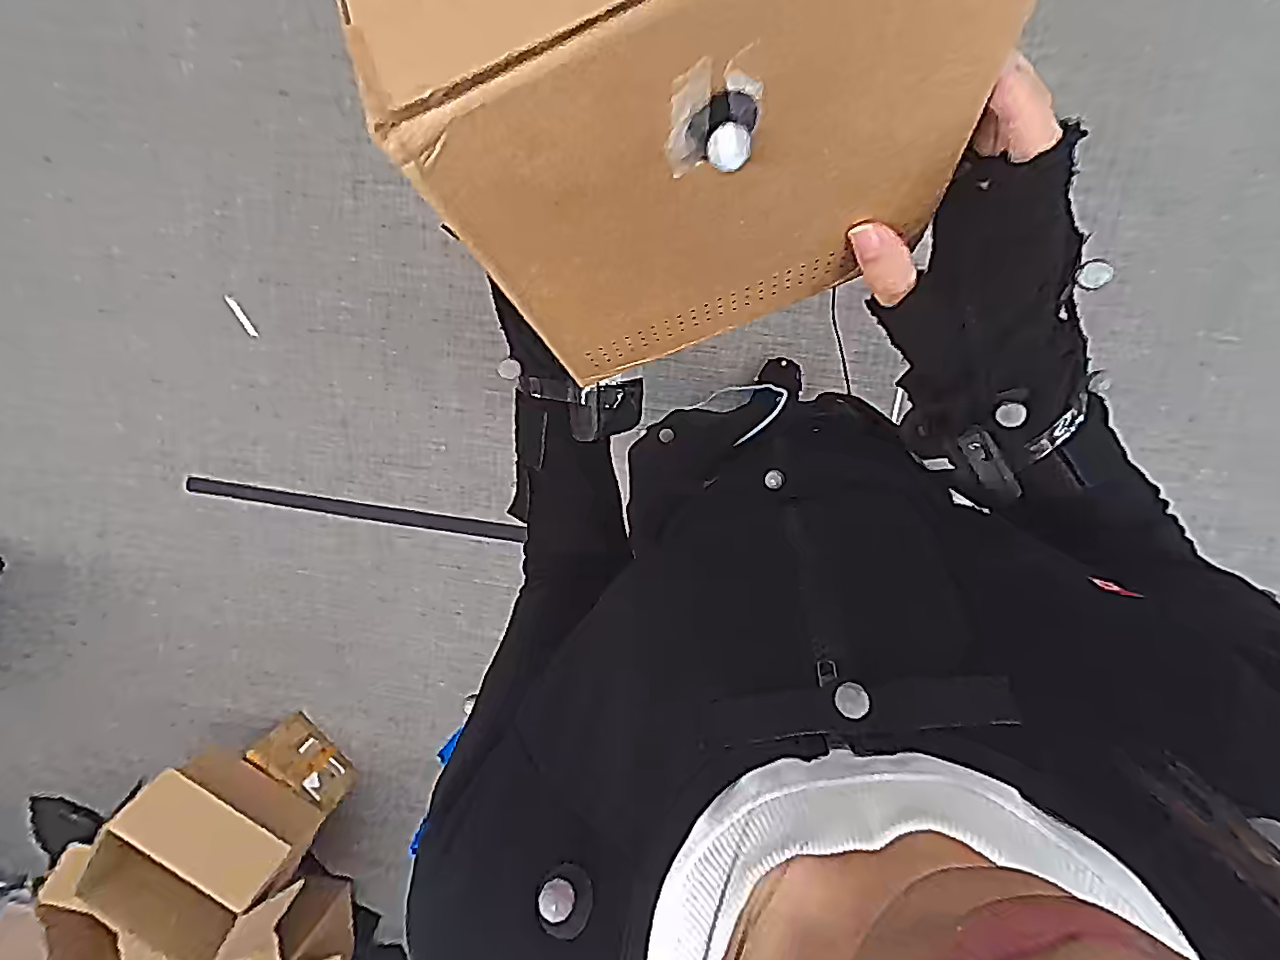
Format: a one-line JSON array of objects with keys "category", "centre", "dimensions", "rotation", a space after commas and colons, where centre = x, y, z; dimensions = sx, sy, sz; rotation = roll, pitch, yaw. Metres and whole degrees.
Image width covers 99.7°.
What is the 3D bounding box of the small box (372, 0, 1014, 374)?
[{"category": "small box", "centre": [0.018, -0.166, 0.217], "dimensions": [0.179, 0.176, 0.168], "rotation": [-20, 75, 7]}]
